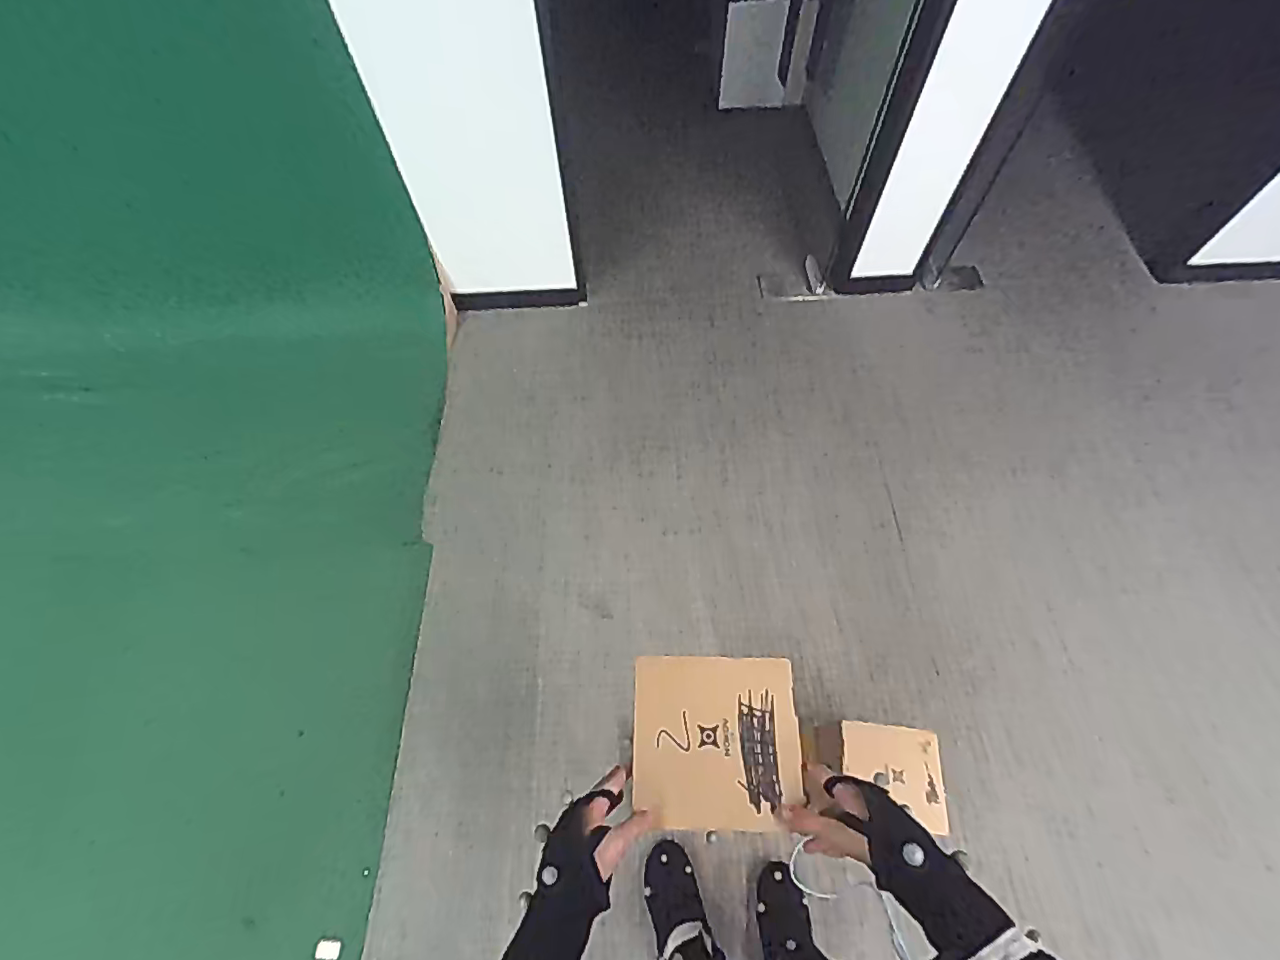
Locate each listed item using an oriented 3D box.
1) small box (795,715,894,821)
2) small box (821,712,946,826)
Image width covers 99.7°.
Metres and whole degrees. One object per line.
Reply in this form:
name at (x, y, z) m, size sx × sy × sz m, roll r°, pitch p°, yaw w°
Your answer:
small box at (0.440, 0.628, 1.185) m, size 0.168 × 0.176 × 0.179 m, roll 6°, pitch 62°, yaw 5°
small box at (0.451, 0.553, 1.038) m, size 0.179 × 0.176 × 0.168 m, roll 5°, pitch 62°, yaw 5°
